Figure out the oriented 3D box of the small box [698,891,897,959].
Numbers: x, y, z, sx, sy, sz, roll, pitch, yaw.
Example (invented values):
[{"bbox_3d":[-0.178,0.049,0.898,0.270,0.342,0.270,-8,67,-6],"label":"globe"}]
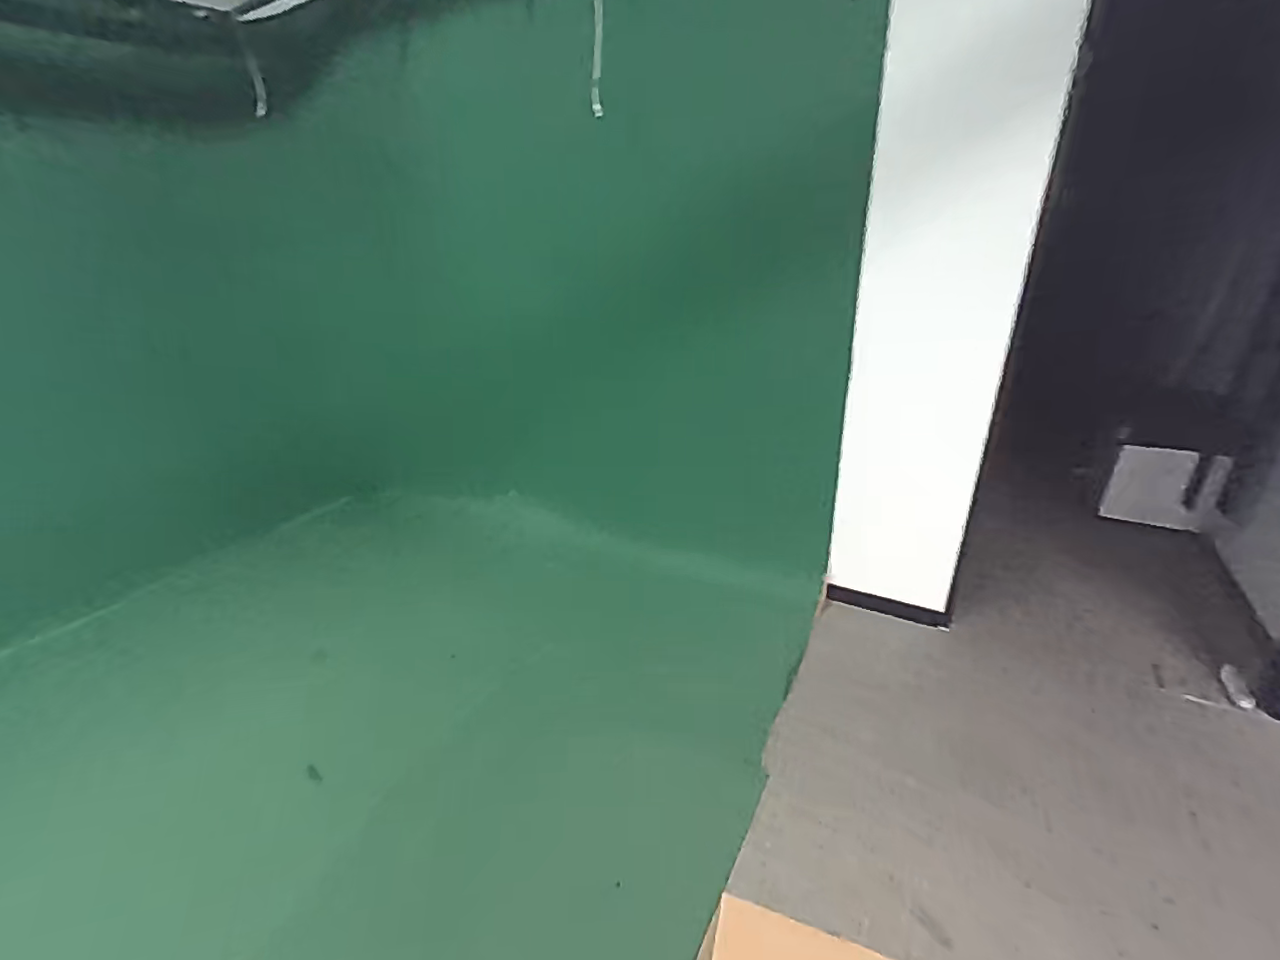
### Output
[{"bbox_3d":[0.114,0.439,0.379,0.179,0.176,0.168,13,38,13],"label":"small box"}]
